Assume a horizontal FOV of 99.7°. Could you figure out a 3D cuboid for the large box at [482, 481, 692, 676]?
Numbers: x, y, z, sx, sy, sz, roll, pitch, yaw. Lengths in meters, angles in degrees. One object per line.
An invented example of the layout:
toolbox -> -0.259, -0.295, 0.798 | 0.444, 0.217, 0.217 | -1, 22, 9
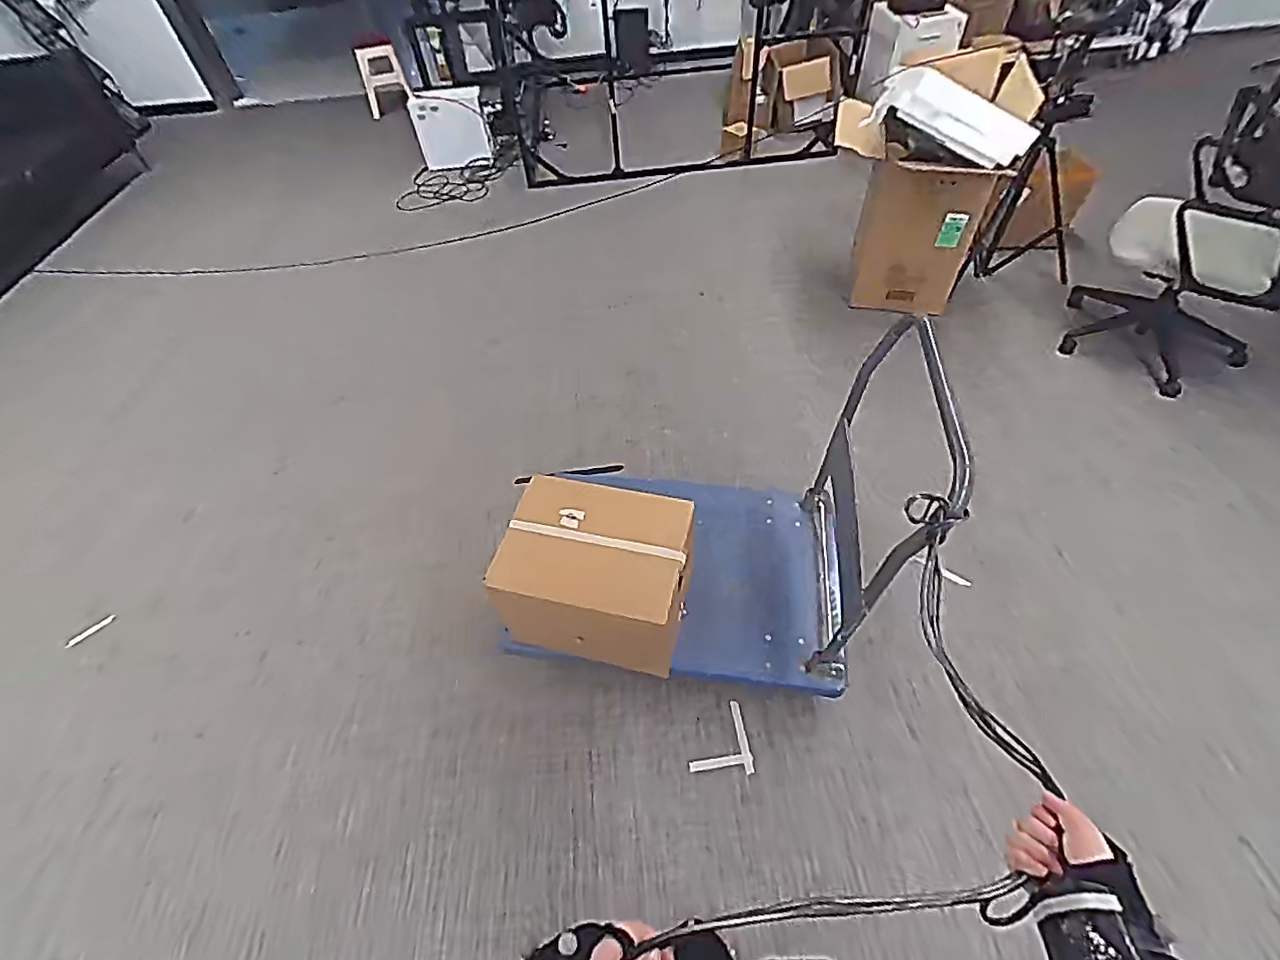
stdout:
large box -> -0.095, 0.238, 1.303 | 0.408, 0.320, 0.320 | 9, 52, 12
